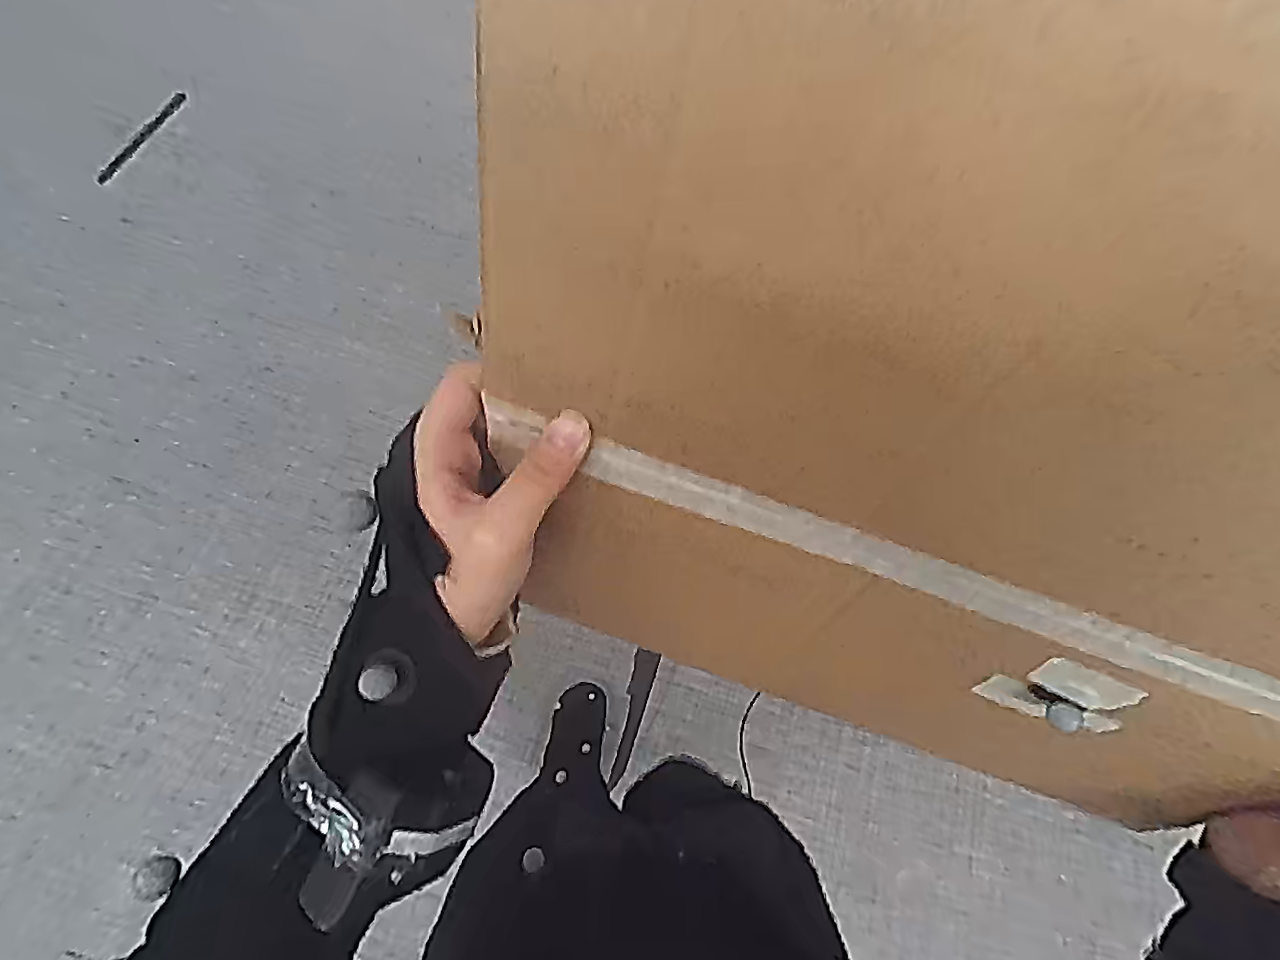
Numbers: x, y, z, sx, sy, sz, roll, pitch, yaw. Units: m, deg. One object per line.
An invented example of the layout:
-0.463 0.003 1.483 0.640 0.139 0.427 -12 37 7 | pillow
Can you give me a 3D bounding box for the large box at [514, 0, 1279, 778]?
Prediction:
0.177 -0.094 0.299 0.408 0.320 0.320 19 50 2 | large box
